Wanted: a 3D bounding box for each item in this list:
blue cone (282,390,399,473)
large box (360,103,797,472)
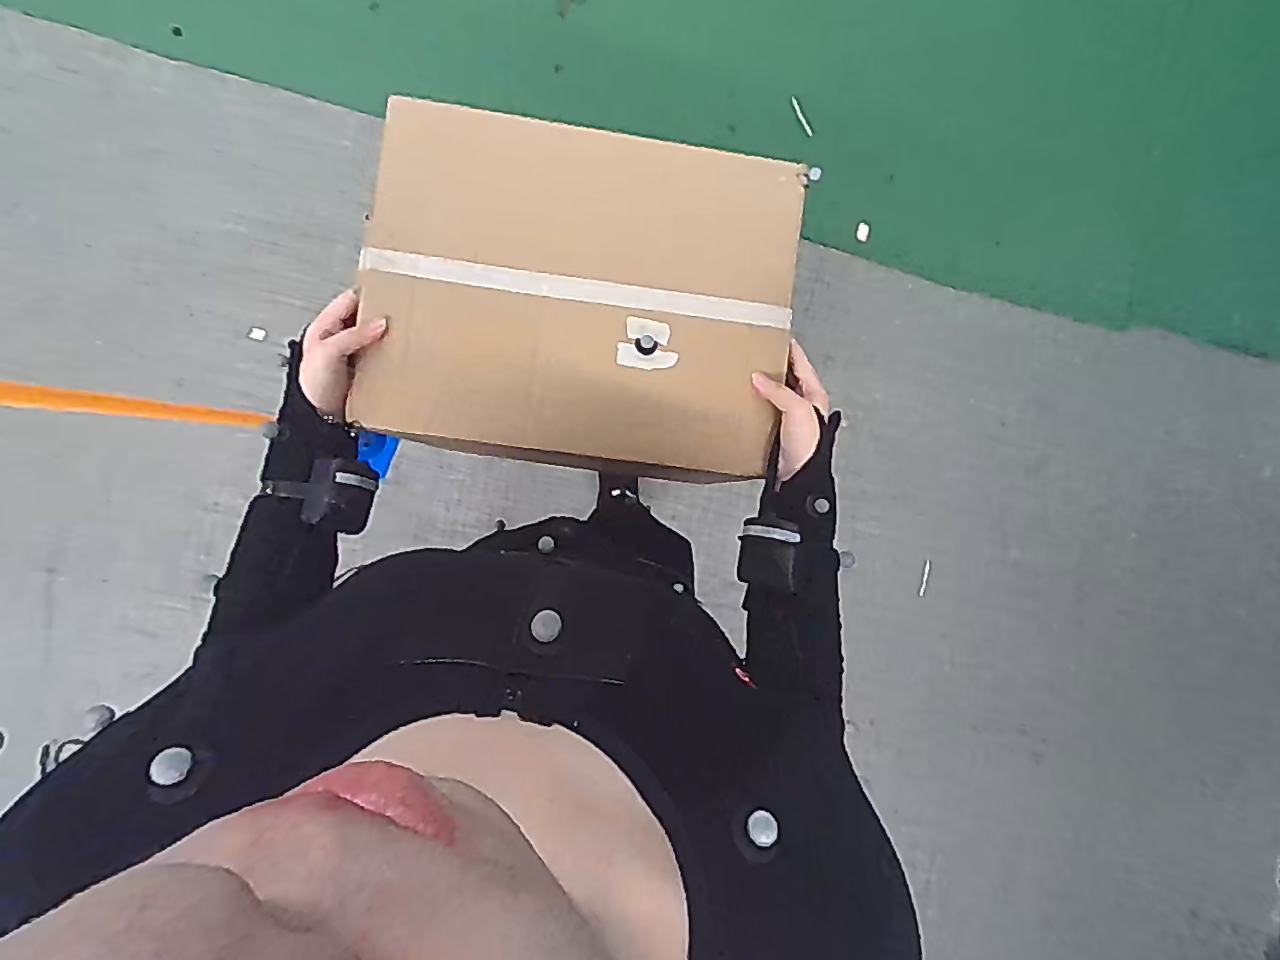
[{"bbox_3d":[-0.720,-0.127,1.261,0.193,0.380,0.192,22,87,-6],"label":"blue cone"},{"bbox_3d":[-0.066,-0.185,0.669,0.408,0.320,0.320,6,89,-5],"label":"large box"}]
